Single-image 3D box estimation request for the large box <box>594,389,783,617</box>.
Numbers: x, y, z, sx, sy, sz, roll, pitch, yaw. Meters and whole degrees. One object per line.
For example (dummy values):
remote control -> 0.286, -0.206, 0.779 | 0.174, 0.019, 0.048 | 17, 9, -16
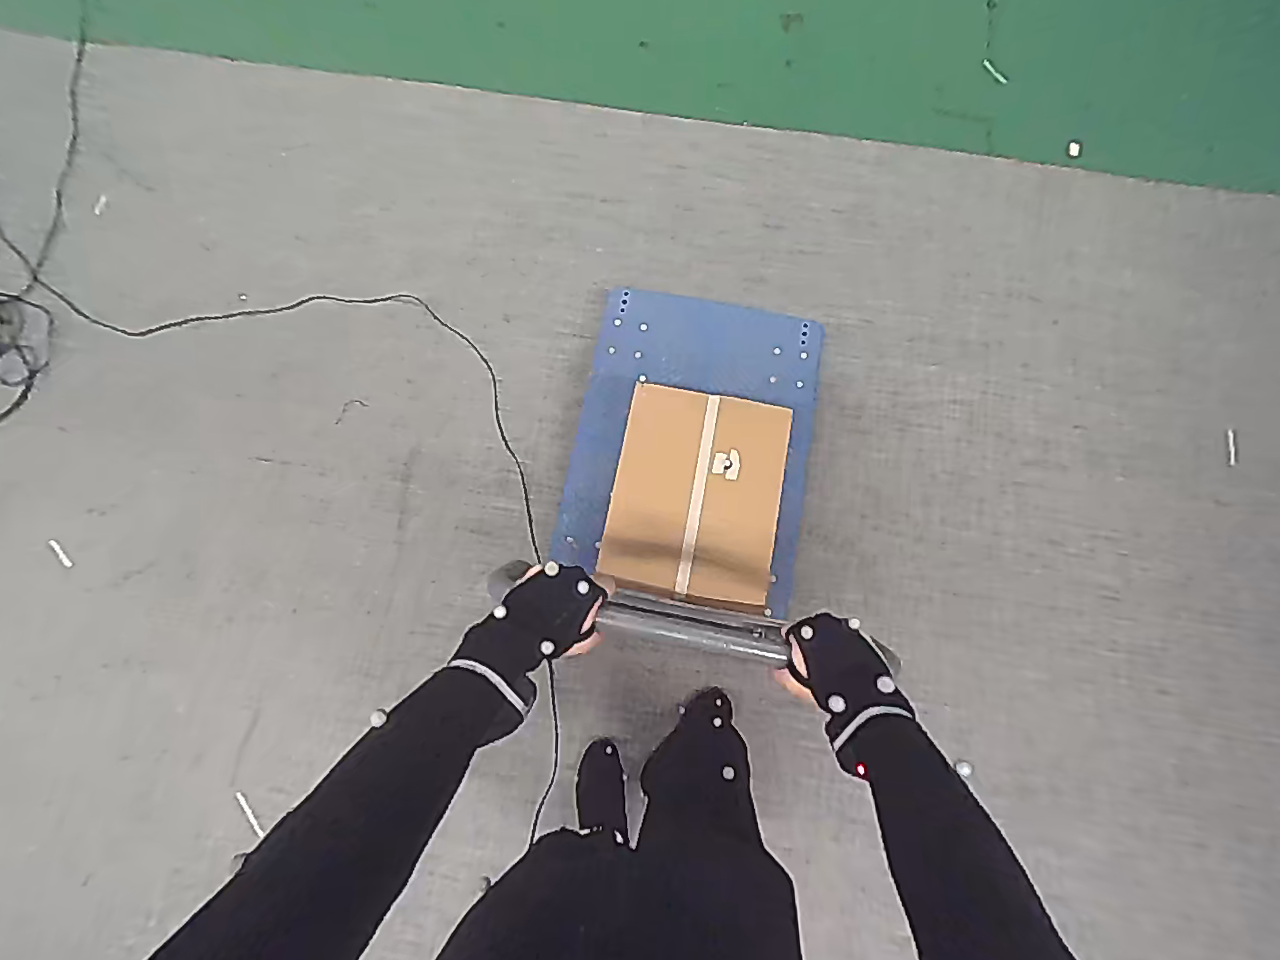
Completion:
large box -> 0.100, 0.067, 1.167 | 0.320, 0.320, 0.408 | 11, 77, 2
